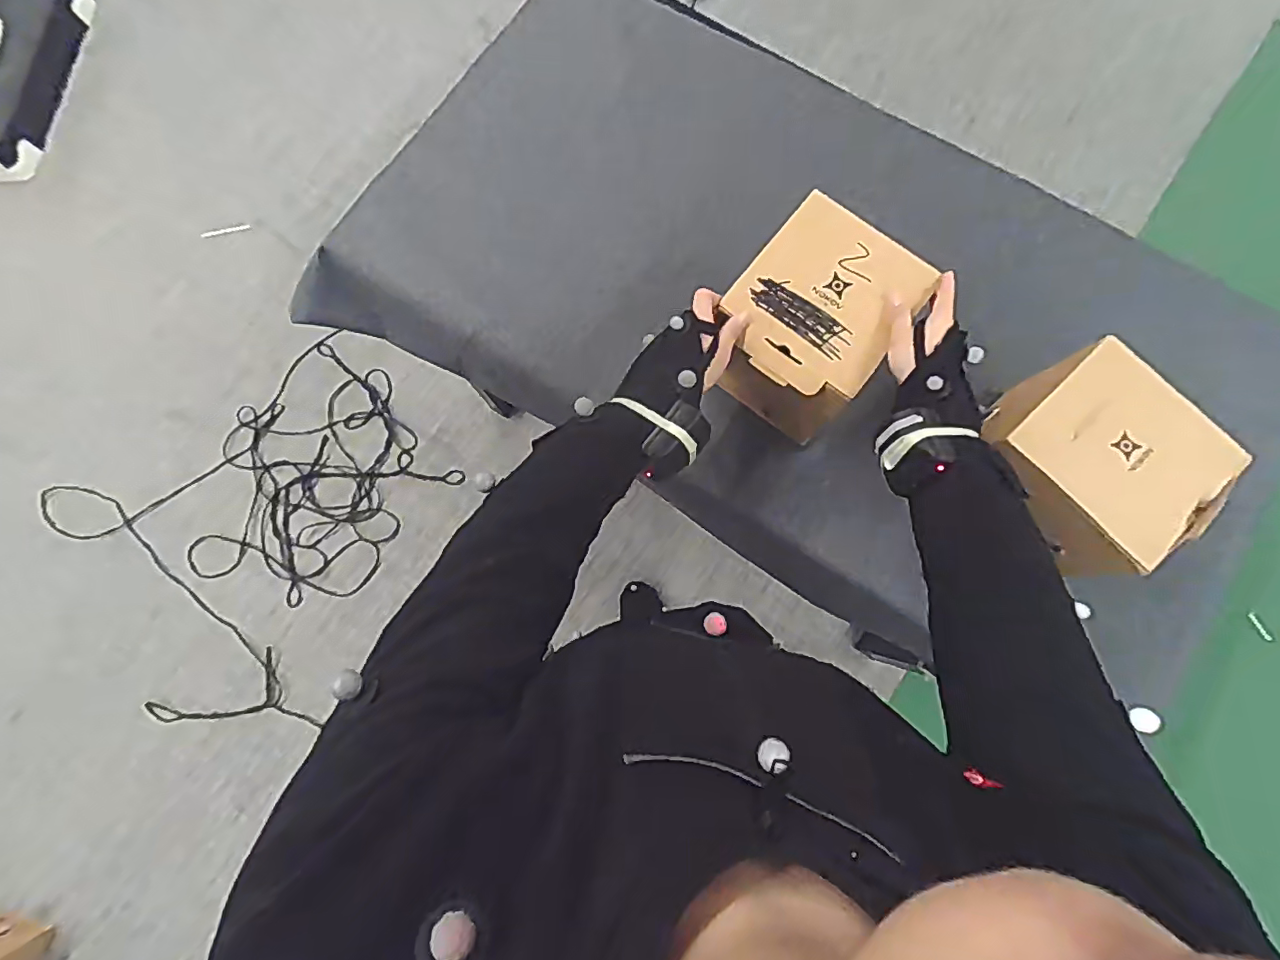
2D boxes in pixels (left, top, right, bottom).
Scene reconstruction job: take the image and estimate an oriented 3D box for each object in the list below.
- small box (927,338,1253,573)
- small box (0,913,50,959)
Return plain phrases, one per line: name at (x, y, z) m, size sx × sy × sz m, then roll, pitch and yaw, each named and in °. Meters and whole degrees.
small box at (0.470, -0.015, 0.597) m, size 0.168 × 0.176 × 0.179 m, roll -41°, pitch 81°, yaw -8°
small box at (-1.423, 1.071, 1.135) m, size 0.168 × 0.176 × 0.179 m, roll 13°, pitch 79°, yaw 3°
